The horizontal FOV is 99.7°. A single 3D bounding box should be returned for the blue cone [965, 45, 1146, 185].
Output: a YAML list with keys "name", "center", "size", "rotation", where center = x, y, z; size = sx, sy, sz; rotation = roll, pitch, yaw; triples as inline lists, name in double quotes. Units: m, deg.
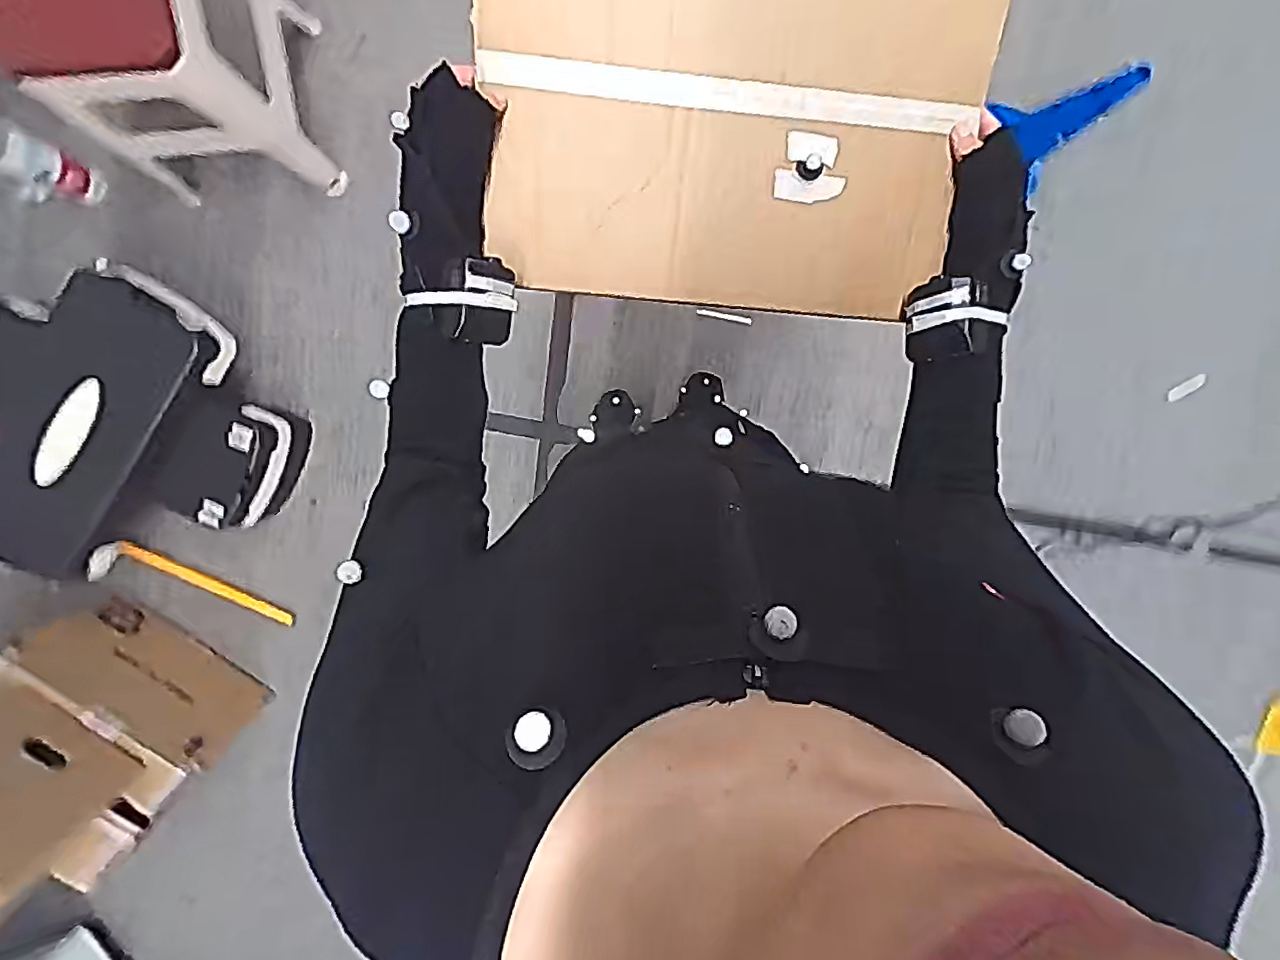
- name: "blue cone"
  center: [0.954, -0.847, 1.236]
  size: [0.193, 0.380, 0.192]
  rotation: [12, 98, -6]
